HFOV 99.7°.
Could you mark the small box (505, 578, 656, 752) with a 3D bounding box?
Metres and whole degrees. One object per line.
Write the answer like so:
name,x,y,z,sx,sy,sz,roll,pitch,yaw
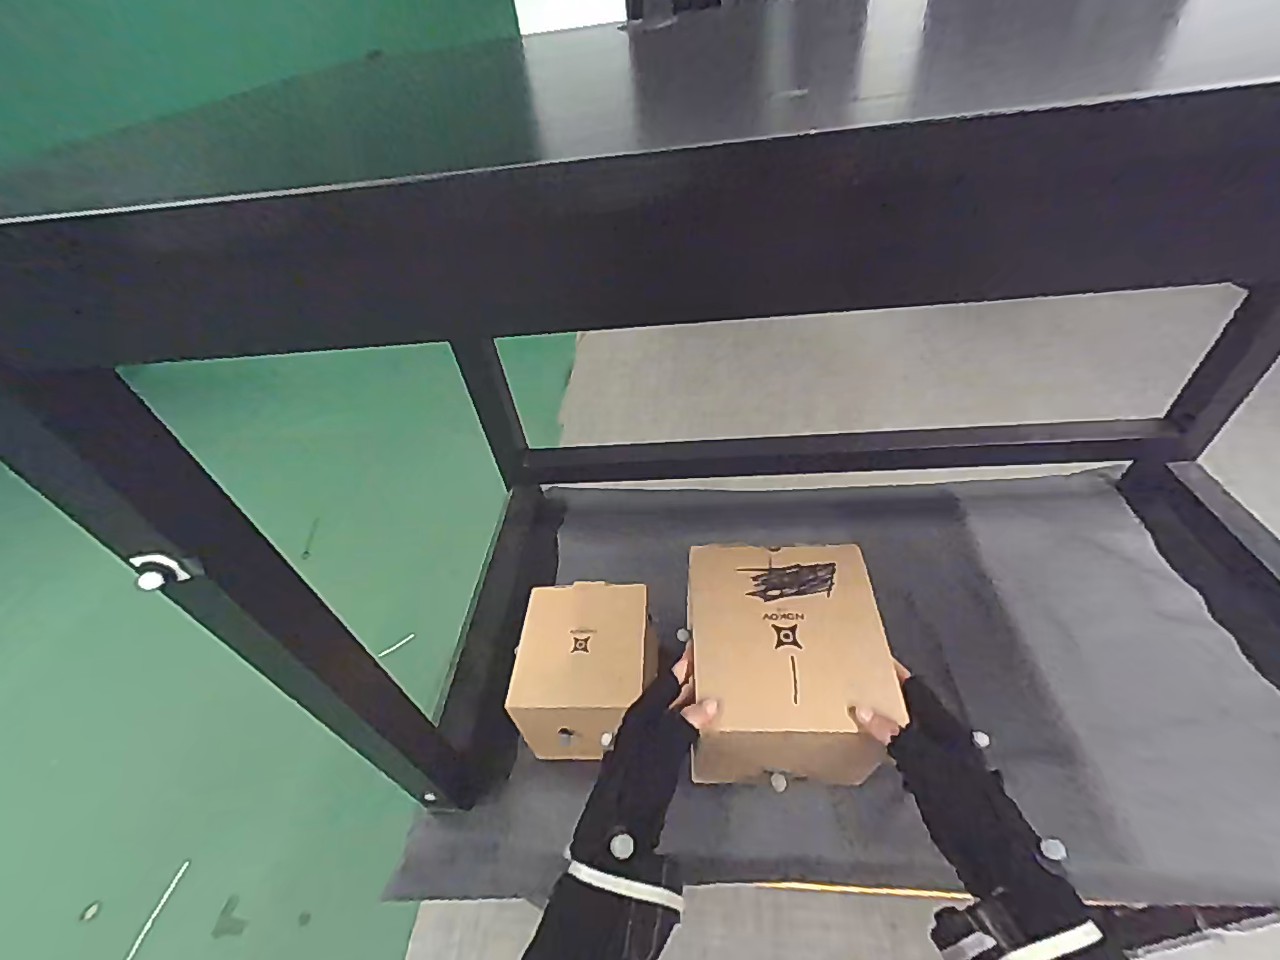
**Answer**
small box,-0.067,0.256,0.743,0.168,0.176,0.179,-3,42,6
